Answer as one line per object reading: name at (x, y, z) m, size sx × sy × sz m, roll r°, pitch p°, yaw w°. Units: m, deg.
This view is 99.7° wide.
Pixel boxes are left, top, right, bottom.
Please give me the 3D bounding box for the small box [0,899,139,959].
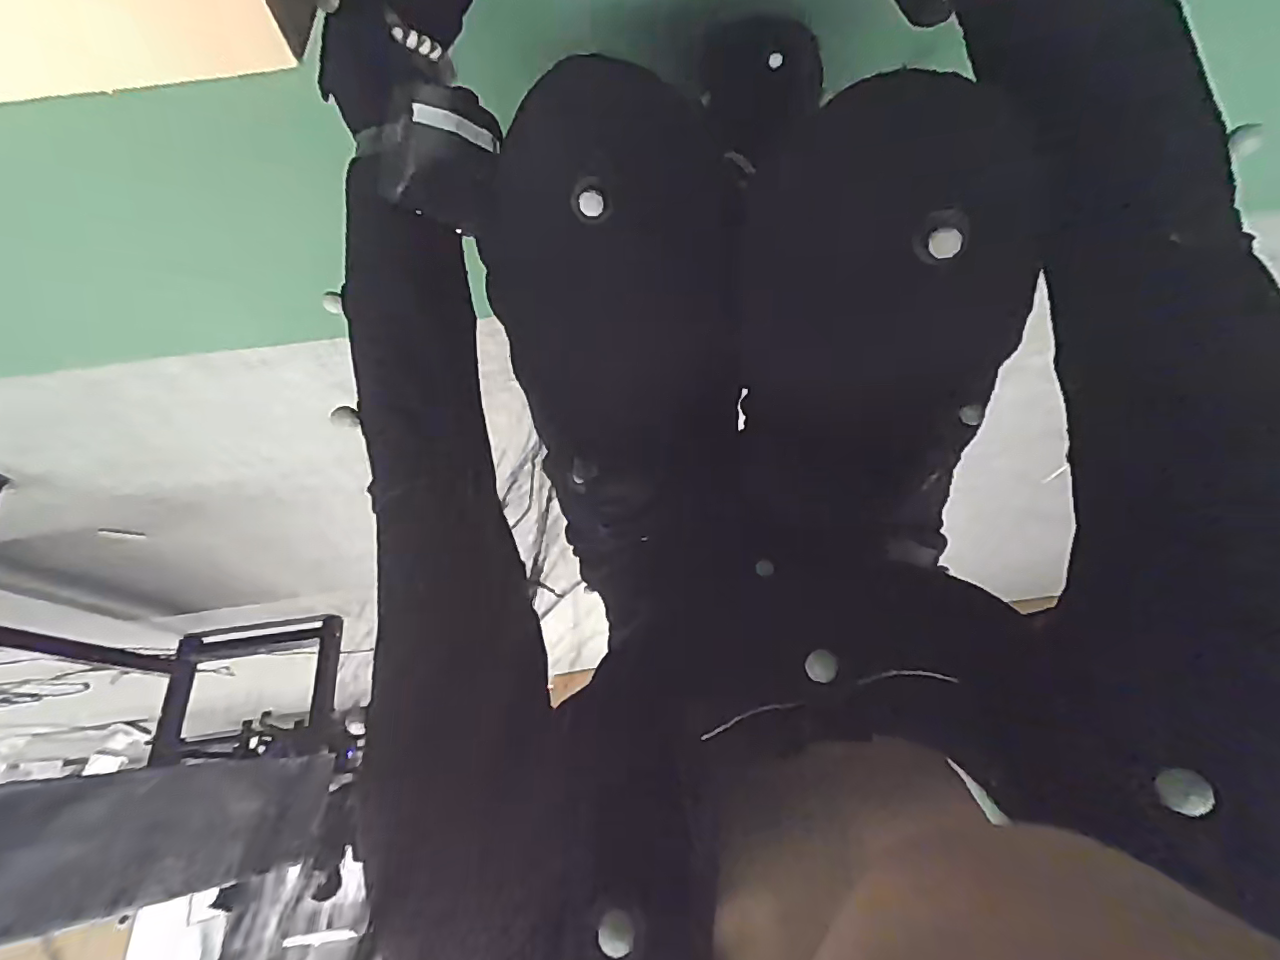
small box at (-1.199, 0.993, 1.120) m, size 0.179 × 0.176 × 0.168 m, roll -7°, pitch 152°, yaw 1°
